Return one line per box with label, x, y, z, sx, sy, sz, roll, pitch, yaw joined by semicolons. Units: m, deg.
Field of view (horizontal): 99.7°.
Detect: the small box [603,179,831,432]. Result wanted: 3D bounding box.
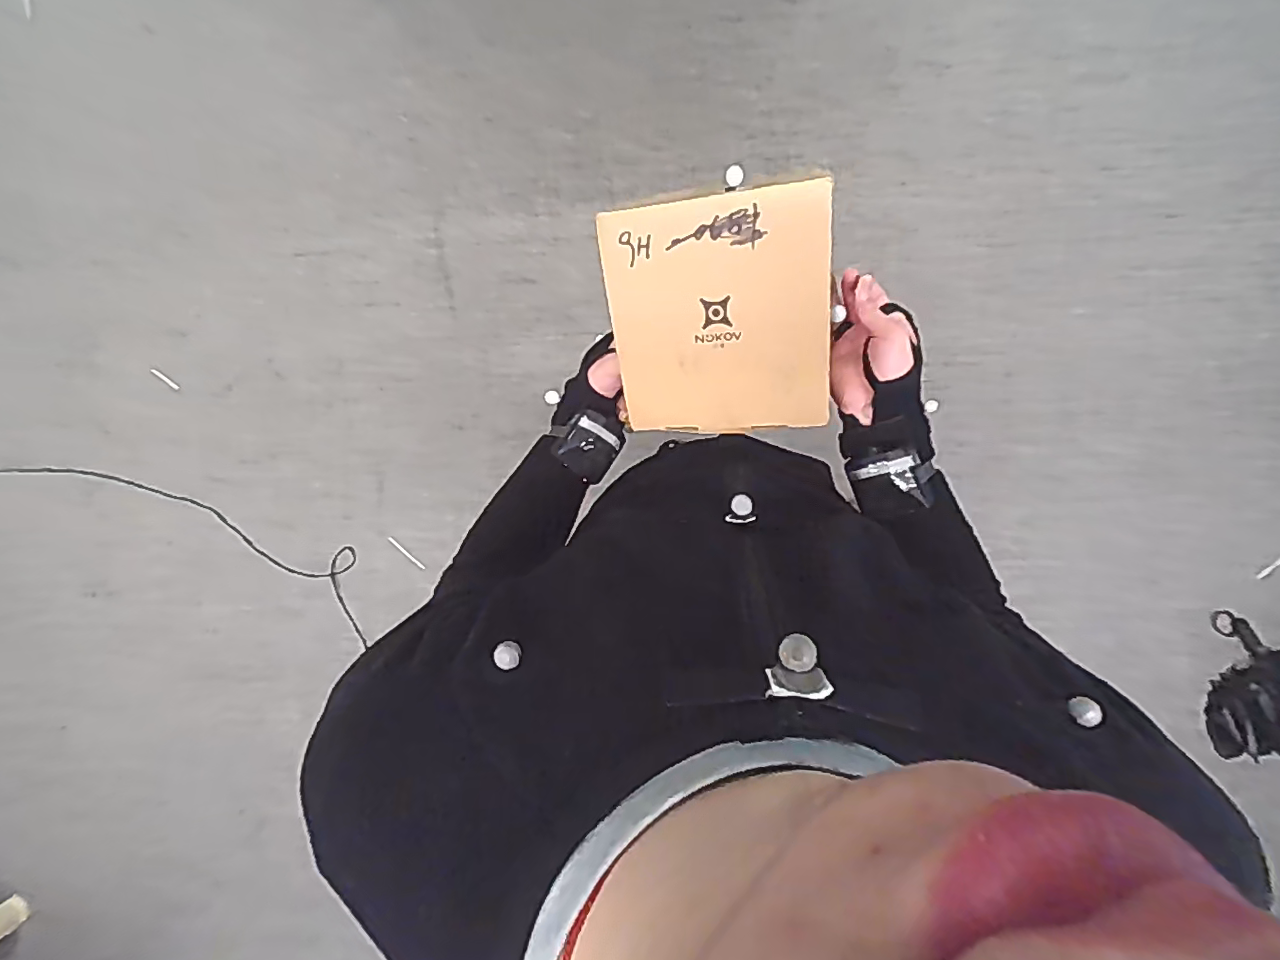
small box;0.082;-0.158;0.488;0.168;0.176;0.179;0;121;17
